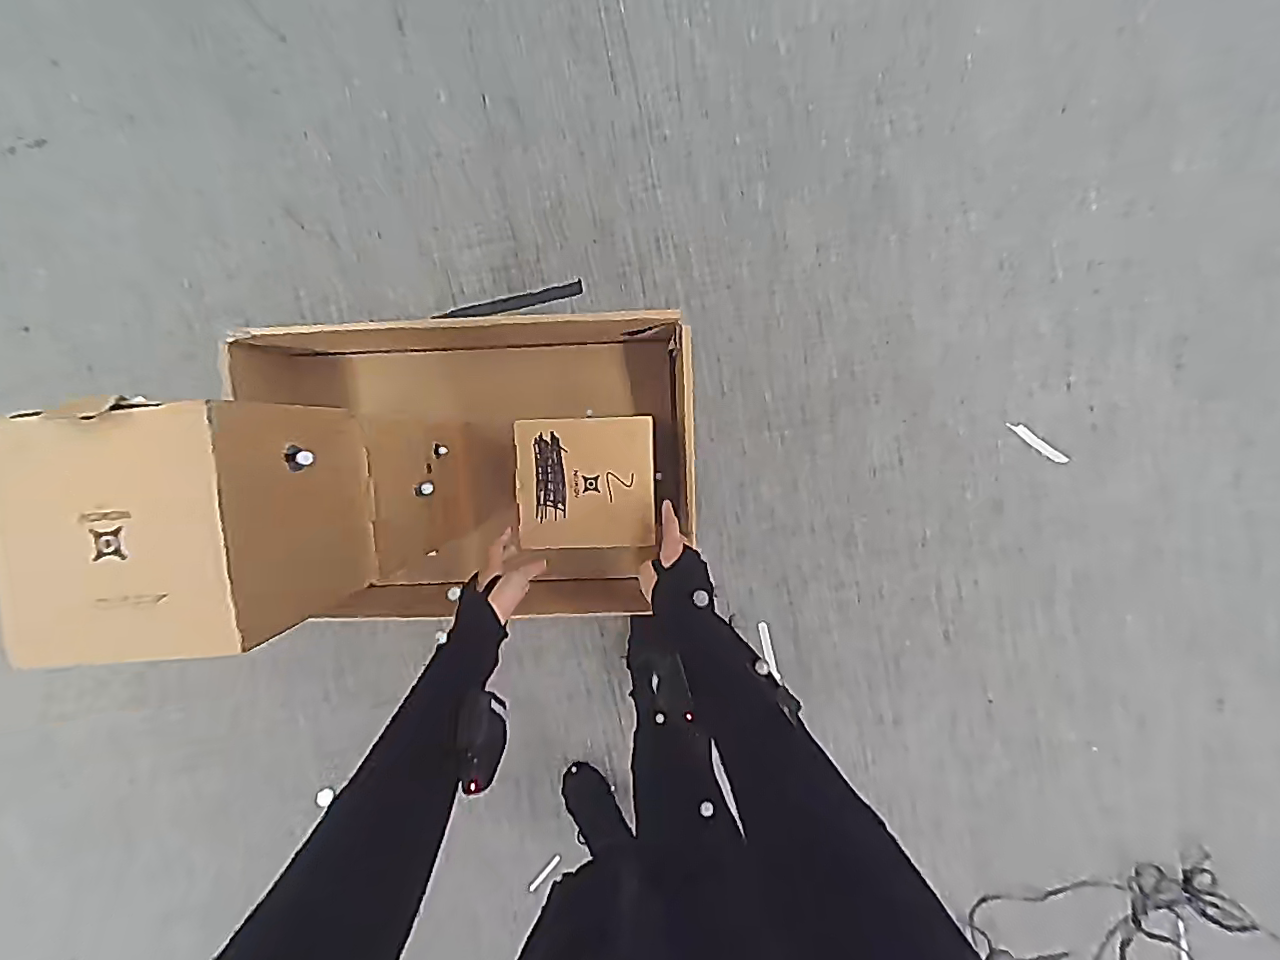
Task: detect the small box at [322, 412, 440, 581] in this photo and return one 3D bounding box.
[{"bbox_3d":[-0.343,0.013,0.600,0.179,0.176,0.168,-2,95,1],"label":"small box"}]

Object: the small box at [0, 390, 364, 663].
[{"bbox_3d":[-0.351,0.028,0.437,0.168,0.176,0.179,-4,94,2],"label":"small box"}]
